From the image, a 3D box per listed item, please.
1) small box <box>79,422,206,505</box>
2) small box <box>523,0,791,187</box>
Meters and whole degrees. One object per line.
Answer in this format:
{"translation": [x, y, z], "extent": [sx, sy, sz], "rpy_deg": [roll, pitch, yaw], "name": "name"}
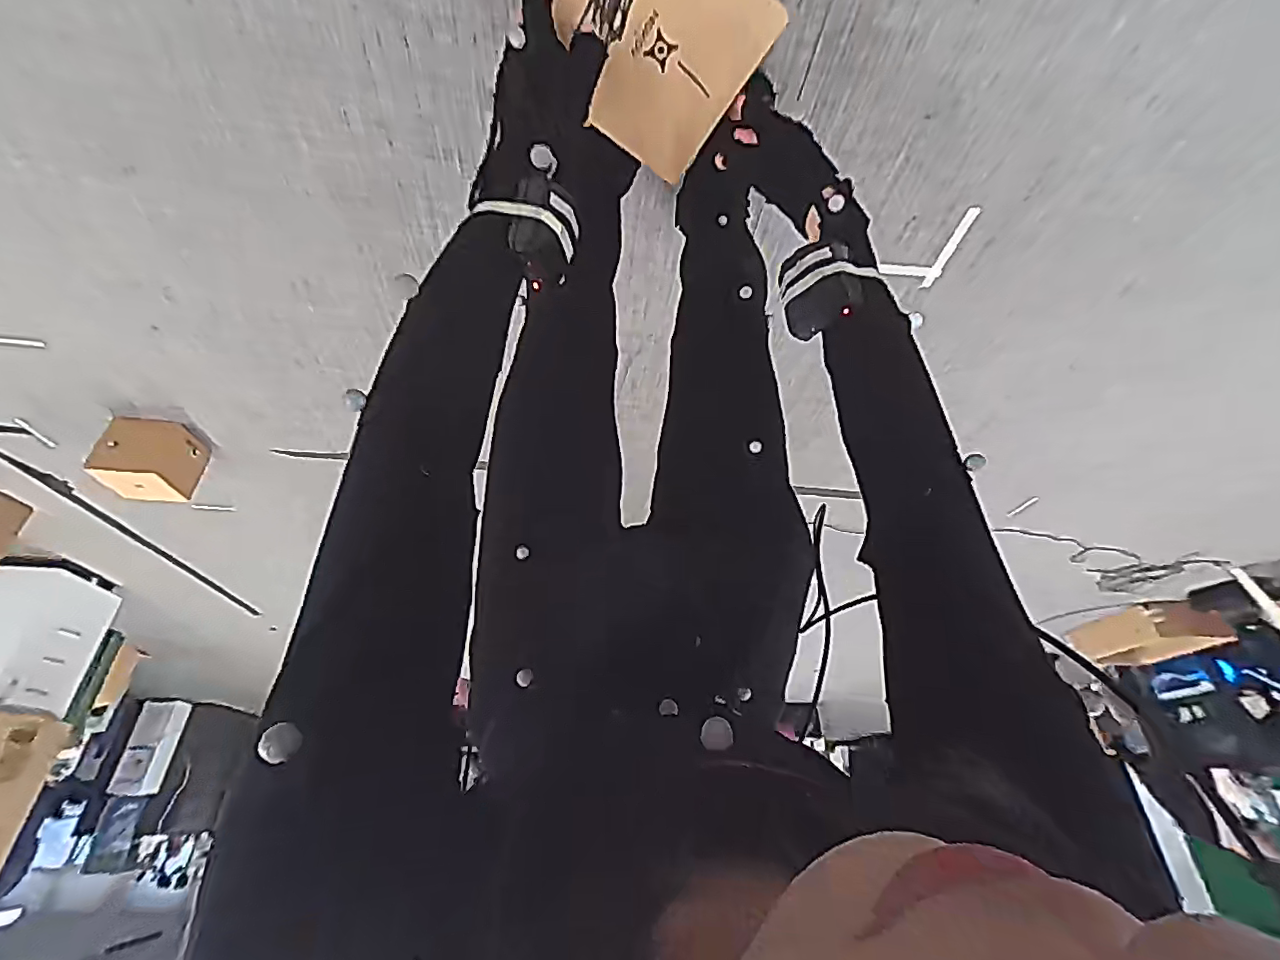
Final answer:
{"translation": [-1.378, -0.047, 1.515], "extent": [0.179, 0.176, 0.168], "rpy_deg": [3, 149, -7], "name": "small box"}
{"translation": [0.007, -0.429, 0.517], "extent": [0.179, 0.176, 0.168], "rpy_deg": [24, 128, -29], "name": "small box"}
